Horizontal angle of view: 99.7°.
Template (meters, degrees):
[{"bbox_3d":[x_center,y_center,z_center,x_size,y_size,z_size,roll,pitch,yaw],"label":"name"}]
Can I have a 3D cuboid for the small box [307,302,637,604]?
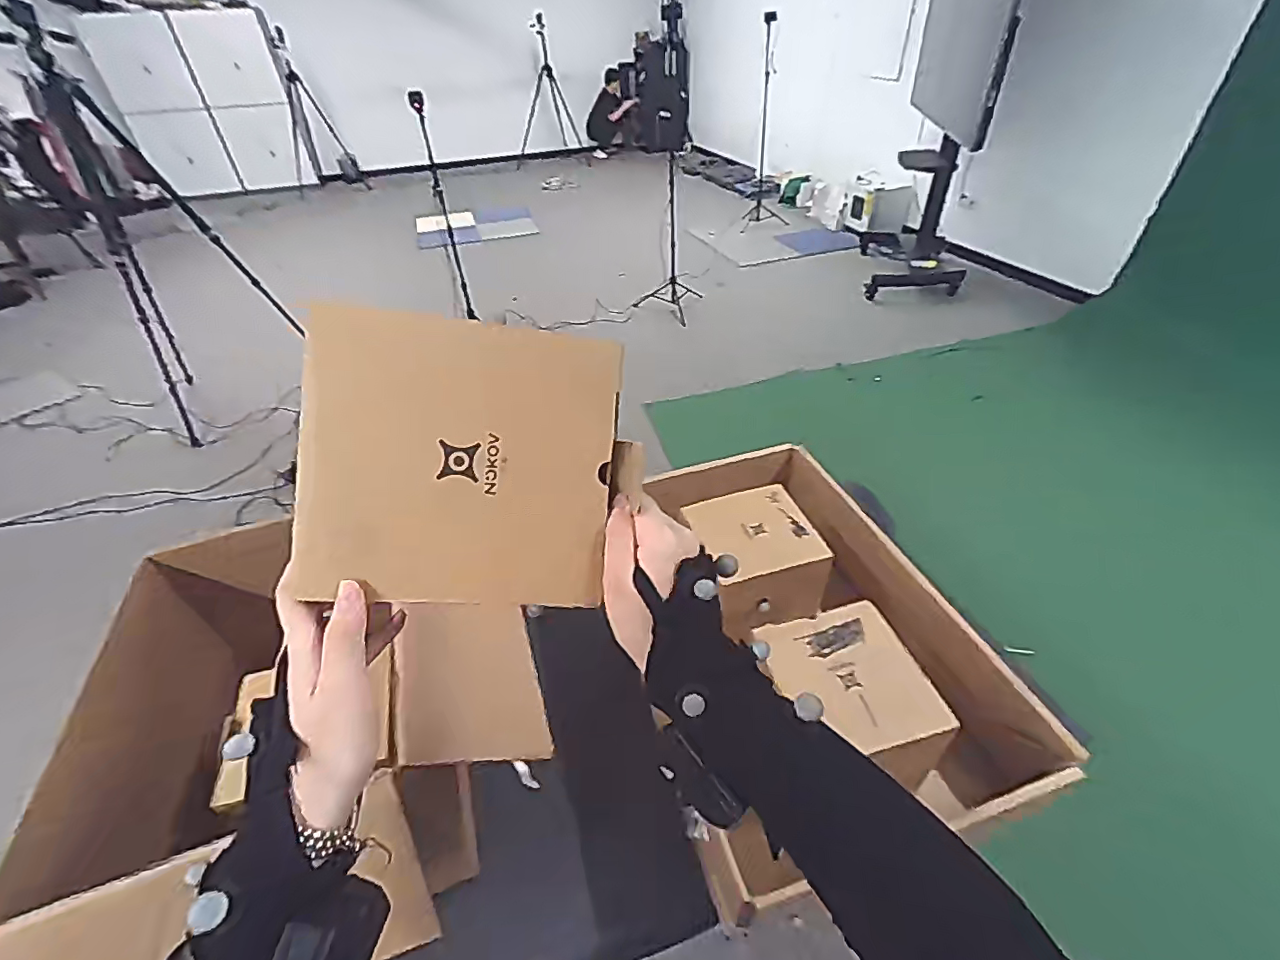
[{"bbox_3d":[-0.111,-0.013,0.392,0.179,0.168,0.176,4,2,-15],"label":"small box"}]
